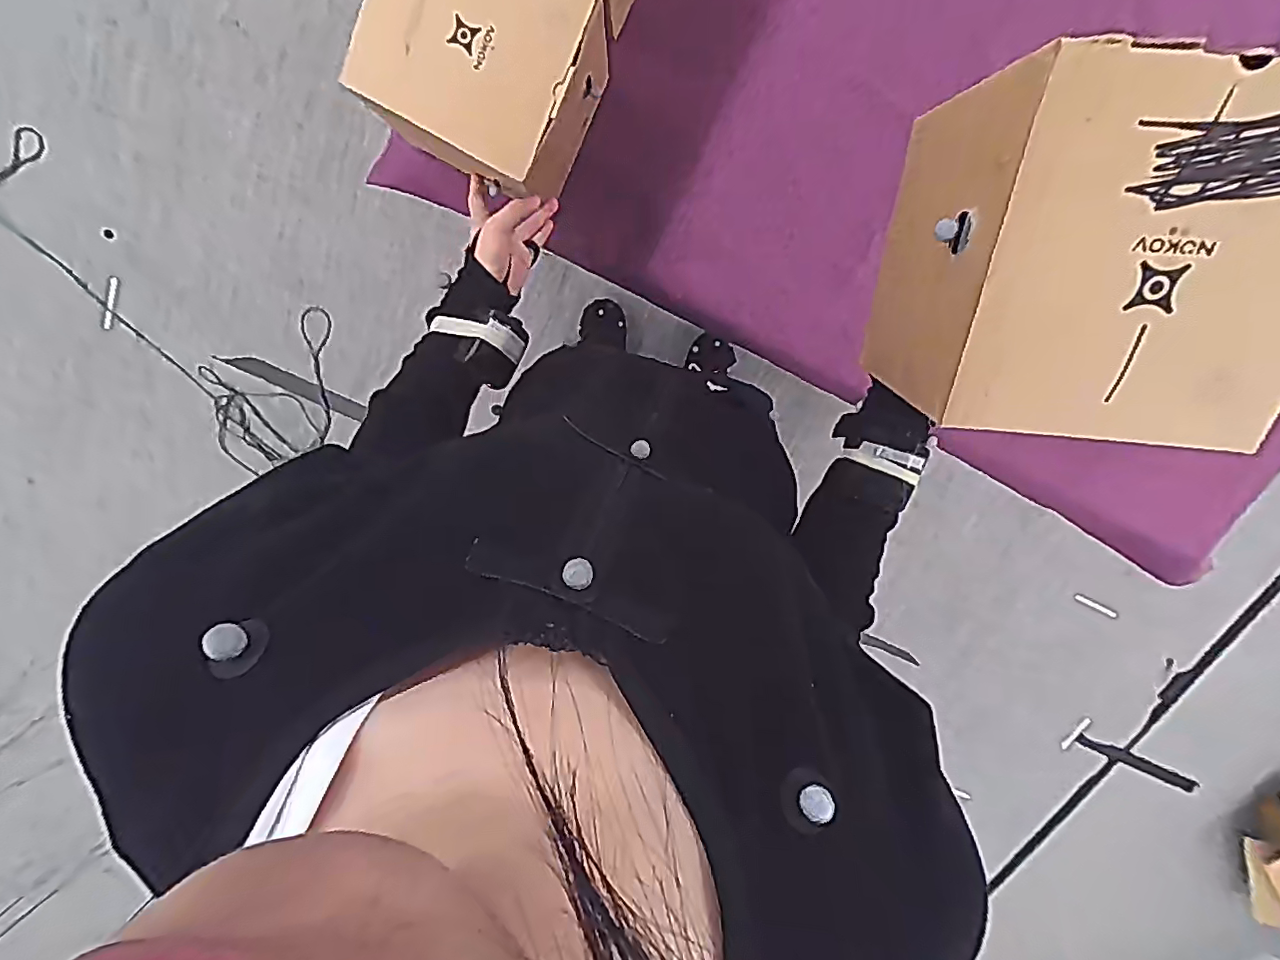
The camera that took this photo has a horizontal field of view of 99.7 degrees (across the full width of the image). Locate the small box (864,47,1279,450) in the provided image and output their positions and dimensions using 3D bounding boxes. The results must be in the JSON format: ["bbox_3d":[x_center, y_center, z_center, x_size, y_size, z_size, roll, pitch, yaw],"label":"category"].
[{"bbox_3d":[0.261,-0.134,0.341,0.168,0.176,0.179,6,114,3],"label":"small box"}]
